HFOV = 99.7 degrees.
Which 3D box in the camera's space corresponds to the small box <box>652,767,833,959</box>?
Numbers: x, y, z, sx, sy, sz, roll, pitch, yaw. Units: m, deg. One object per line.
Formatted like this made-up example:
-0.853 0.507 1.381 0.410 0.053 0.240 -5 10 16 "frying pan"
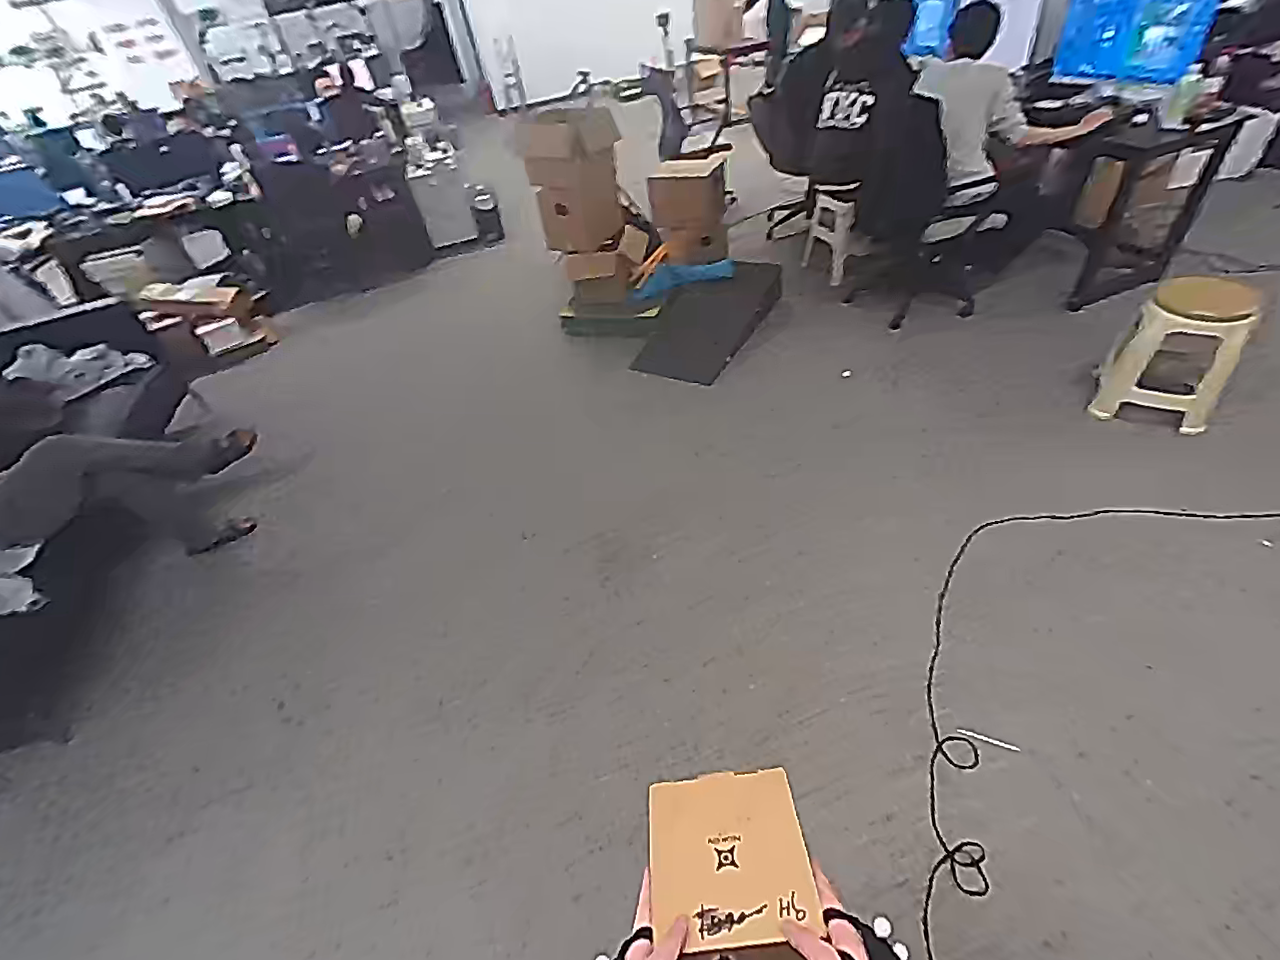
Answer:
0.110 0.460 0.602 0.168 0.176 0.179 -11 23 6 "small box"
